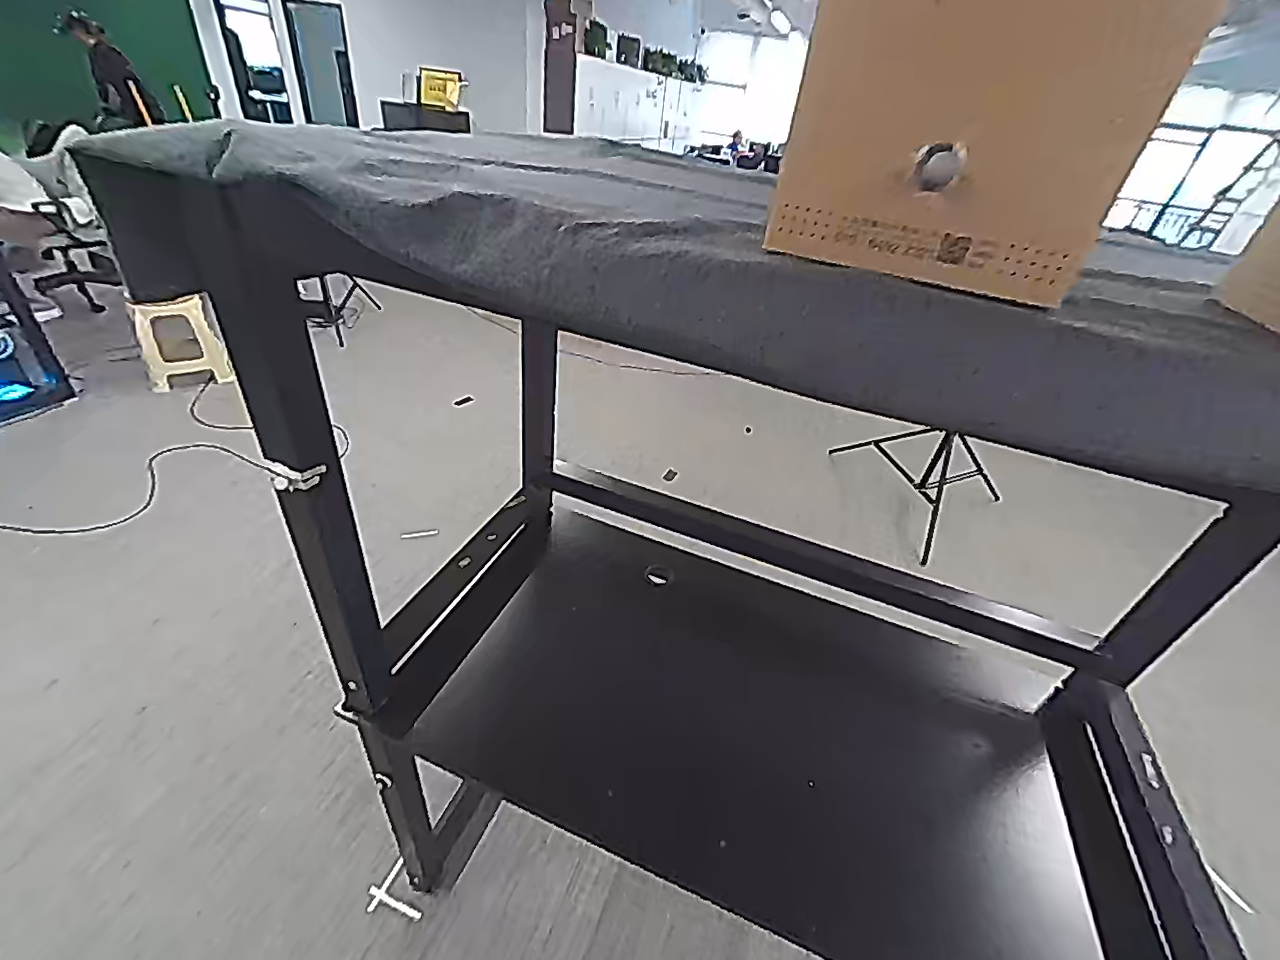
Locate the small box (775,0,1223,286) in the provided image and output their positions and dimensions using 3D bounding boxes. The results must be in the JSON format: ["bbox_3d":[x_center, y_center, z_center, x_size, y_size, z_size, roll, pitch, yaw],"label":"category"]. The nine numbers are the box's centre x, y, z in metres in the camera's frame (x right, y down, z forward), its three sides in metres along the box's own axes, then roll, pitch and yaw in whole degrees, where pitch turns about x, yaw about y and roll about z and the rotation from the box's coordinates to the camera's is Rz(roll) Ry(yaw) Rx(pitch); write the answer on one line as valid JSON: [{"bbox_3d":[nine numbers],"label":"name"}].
[{"bbox_3d":[0.192,-0.232,0.330,0.168,0.176,0.179,18,34,14],"label":"small box"}]

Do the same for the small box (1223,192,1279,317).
[{"bbox_3d":[0.472,-0.145,0.266,0.168,0.176,0.179,20,35,17],"label":"small box"}]
